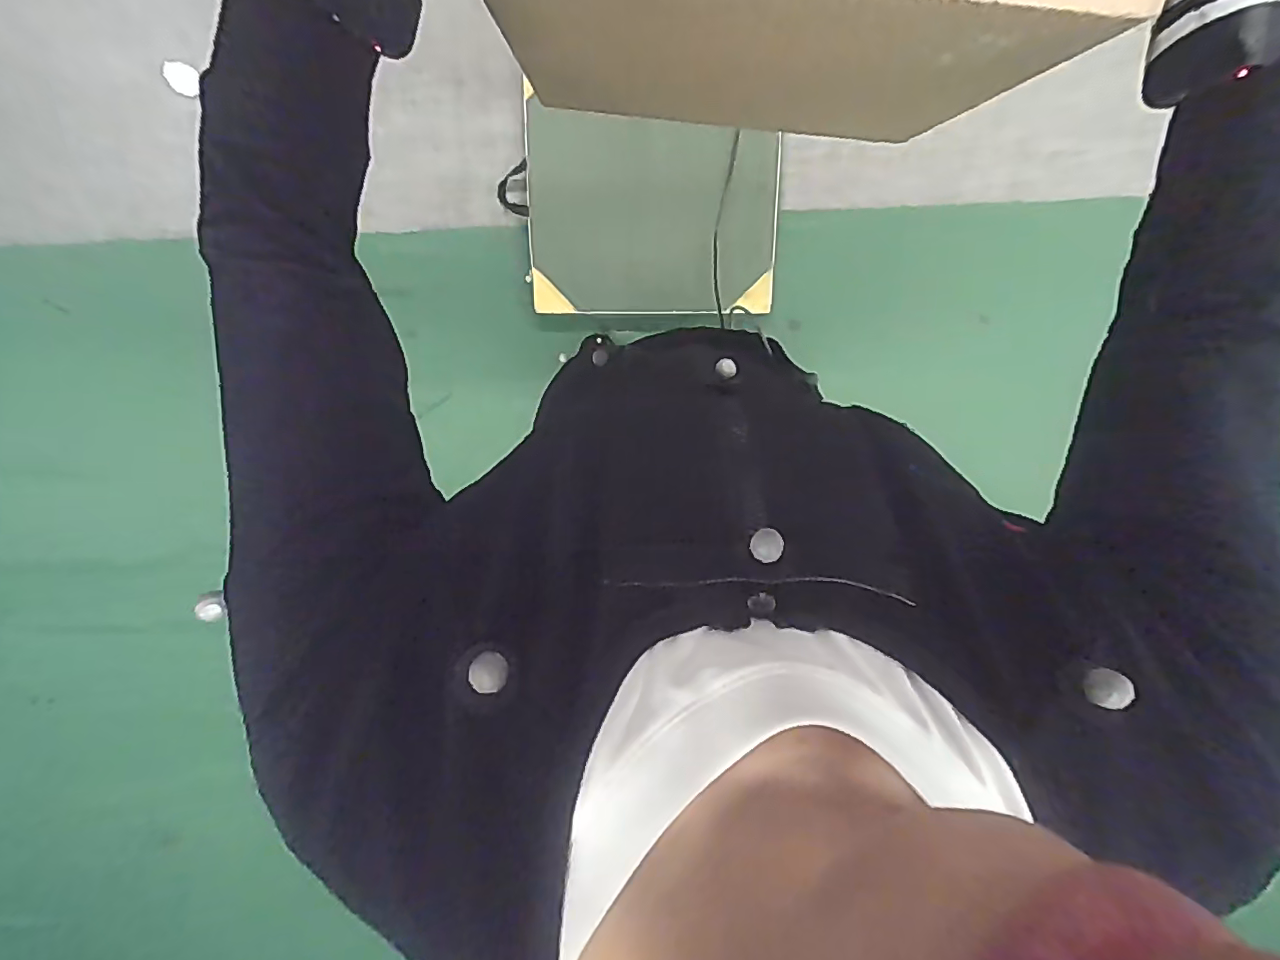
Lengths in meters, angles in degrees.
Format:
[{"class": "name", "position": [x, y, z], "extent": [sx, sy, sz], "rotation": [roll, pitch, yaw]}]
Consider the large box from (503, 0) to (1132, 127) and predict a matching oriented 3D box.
[{"class": "large box", "position": [0.105, -0.487, 0.396], "extent": [0.408, 0.320, 0.320], "rotation": [3, 111, -3]}]
